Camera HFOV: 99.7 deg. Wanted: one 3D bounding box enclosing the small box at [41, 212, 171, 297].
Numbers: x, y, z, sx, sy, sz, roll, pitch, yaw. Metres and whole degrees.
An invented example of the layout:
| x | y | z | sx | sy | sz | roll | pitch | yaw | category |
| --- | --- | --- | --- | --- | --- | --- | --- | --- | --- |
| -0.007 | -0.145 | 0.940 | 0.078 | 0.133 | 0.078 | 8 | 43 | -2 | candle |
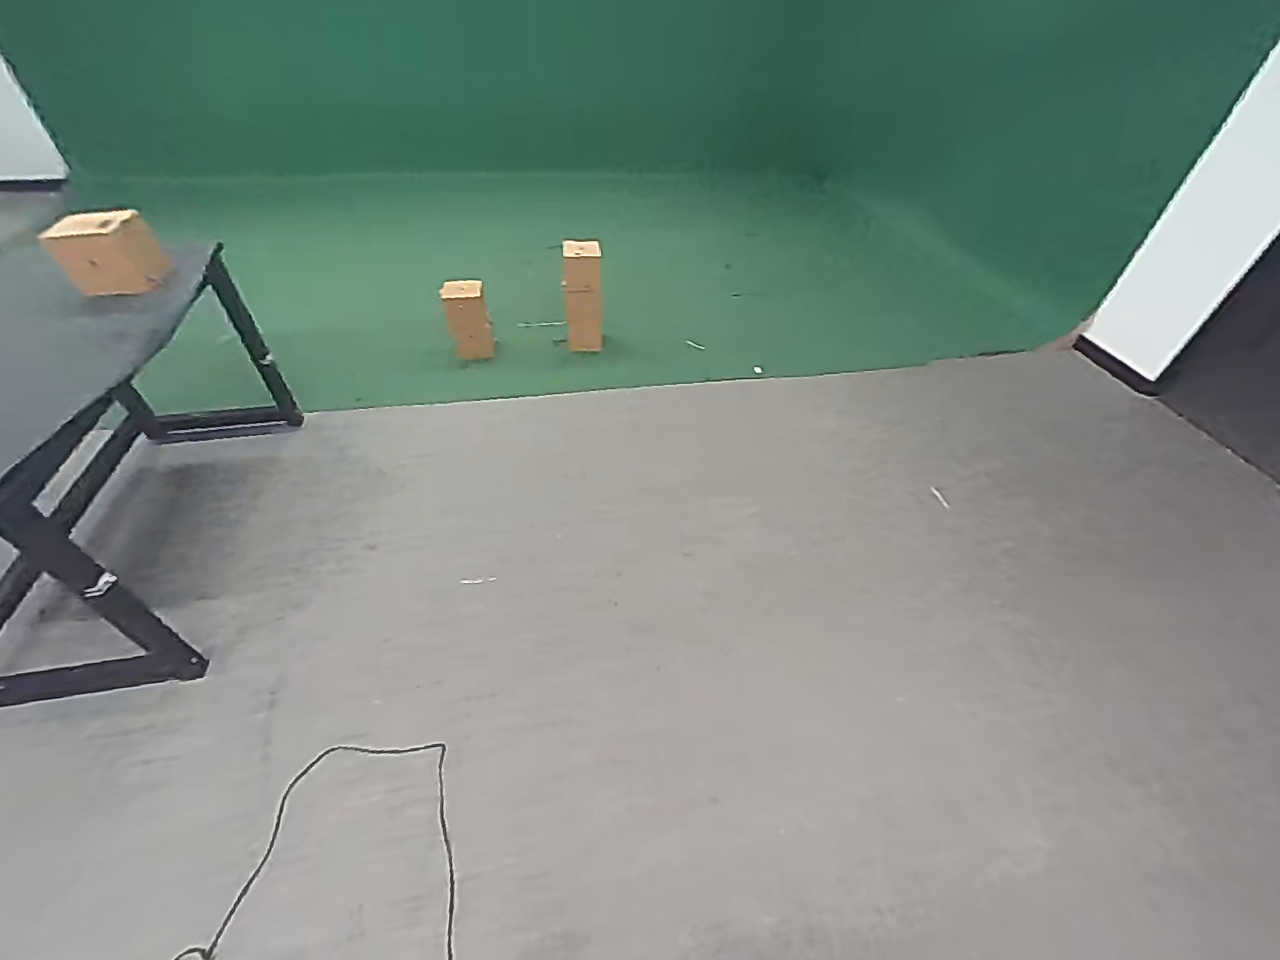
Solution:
| x | y | z | sx | sy | sz | roll | pitch | yaw | category |
| --- | --- | --- | --- | --- | --- | --- | --- | --- | --- |
| -1.496 | -0.637 | 1.533 | 0.179 | 0.176 | 0.168 | -8 | 47 | -7 | small box |

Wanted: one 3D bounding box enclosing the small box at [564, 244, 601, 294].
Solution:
| x | y | z | sx | sy | sz | roll | pitch | yaw | category |
| --- | --- | --- | --- | --- | --- | --- | --- | --- | --- |
| -0.273 | -0.993 | 2.541 | 0.168 | 0.176 | 0.179 | -2 | 44 | -7 | small box |

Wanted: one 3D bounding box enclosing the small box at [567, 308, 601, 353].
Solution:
| x | y | z | sx | sy | sz | roll | pitch | yaw | category |
| --- | --- | --- | --- | --- | --- | --- | --- | --- | --- |
| -0.284 | -0.768 | 2.781 | 0.168 | 0.176 | 0.179 | 0 | 45 | -4 | small box |

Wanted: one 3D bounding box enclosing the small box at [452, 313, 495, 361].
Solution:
| x | y | z | sx | sy | sz | roll | pitch | yaw | category |
| --- | --- | --- | --- | --- | --- | --- | --- | --- | --- |
| -0.825 | -0.707 | 2.682 | 0.179 | 0.176 | 0.168 | -6 | 47 | -10 | small box |

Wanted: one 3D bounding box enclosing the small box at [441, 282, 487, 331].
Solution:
| x | y | z | sx | sy | sz | roll | pitch | yaw | category |
| --- | --- | --- | --- | --- | --- | --- | --- | --- | --- |
| -0.831 | -0.820 | 2.565 | 0.179 | 0.176 | 0.168 | -4 | 46 | -8 | small box |
